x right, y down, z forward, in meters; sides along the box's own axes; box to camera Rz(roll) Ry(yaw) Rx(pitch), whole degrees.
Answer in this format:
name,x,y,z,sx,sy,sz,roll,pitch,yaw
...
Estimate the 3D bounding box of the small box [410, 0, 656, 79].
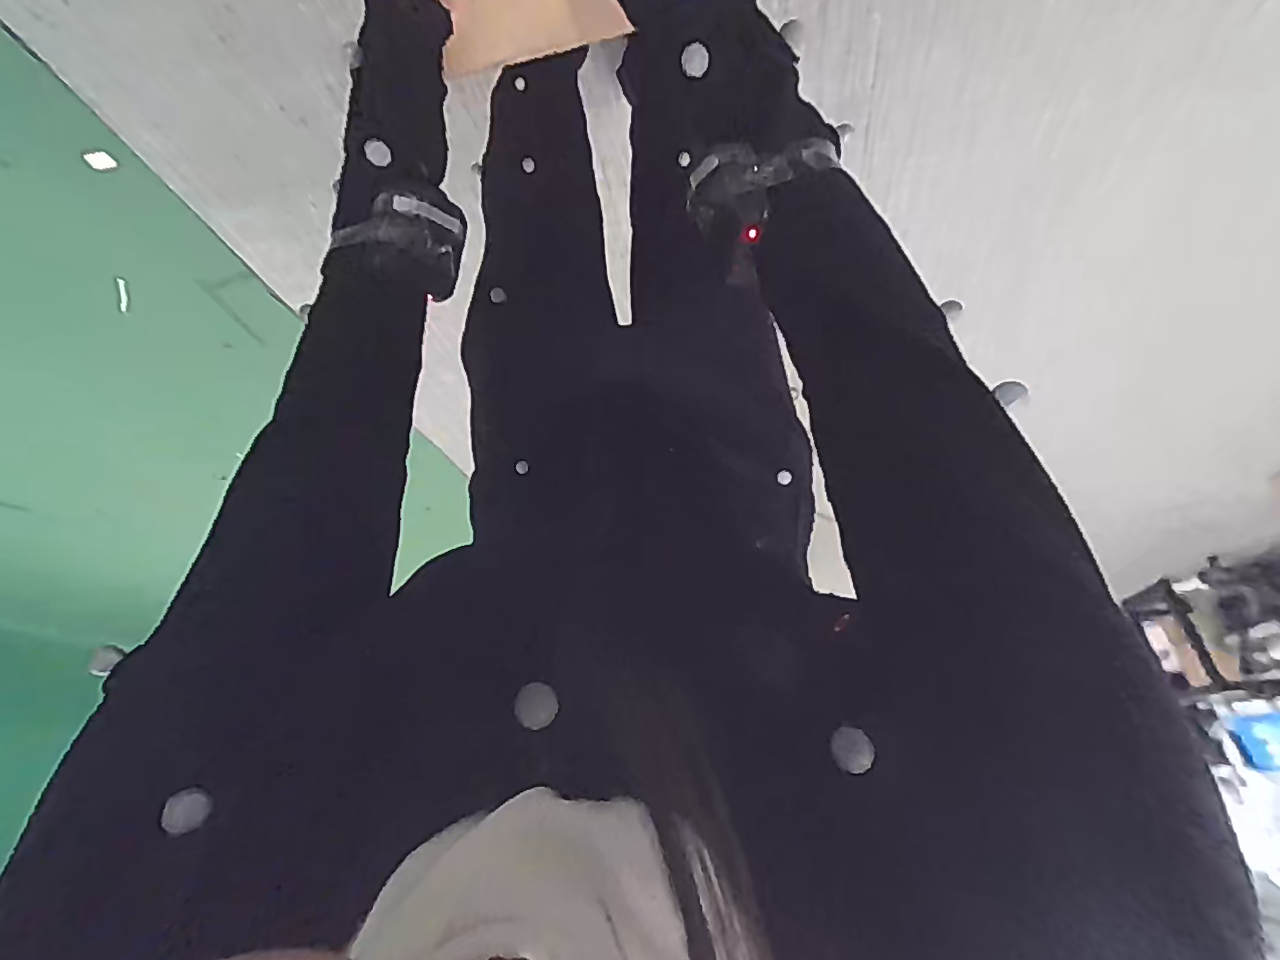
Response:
name,x,y,z,sx,sy,sz,roll,pitch,yaw
small box,-0.094,-0.441,0.392,0.179,0.176,0.168,-10,150,6
